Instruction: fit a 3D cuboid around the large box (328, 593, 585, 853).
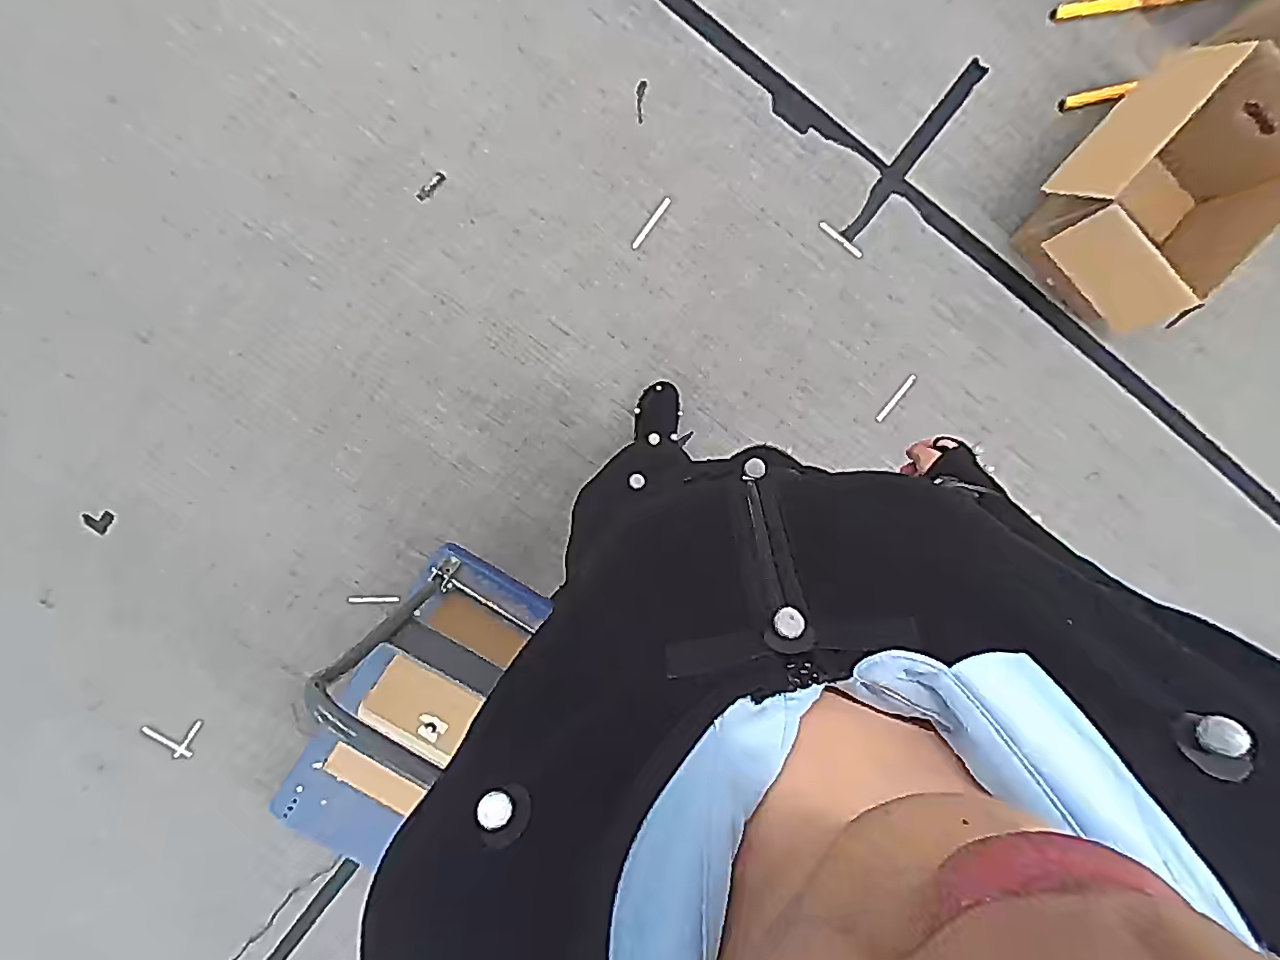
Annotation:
[{"bbox_3d":[-0.382,0.527,1.235,0.408,0.320,0.320,34,95,-5],"label":"large box"}]
